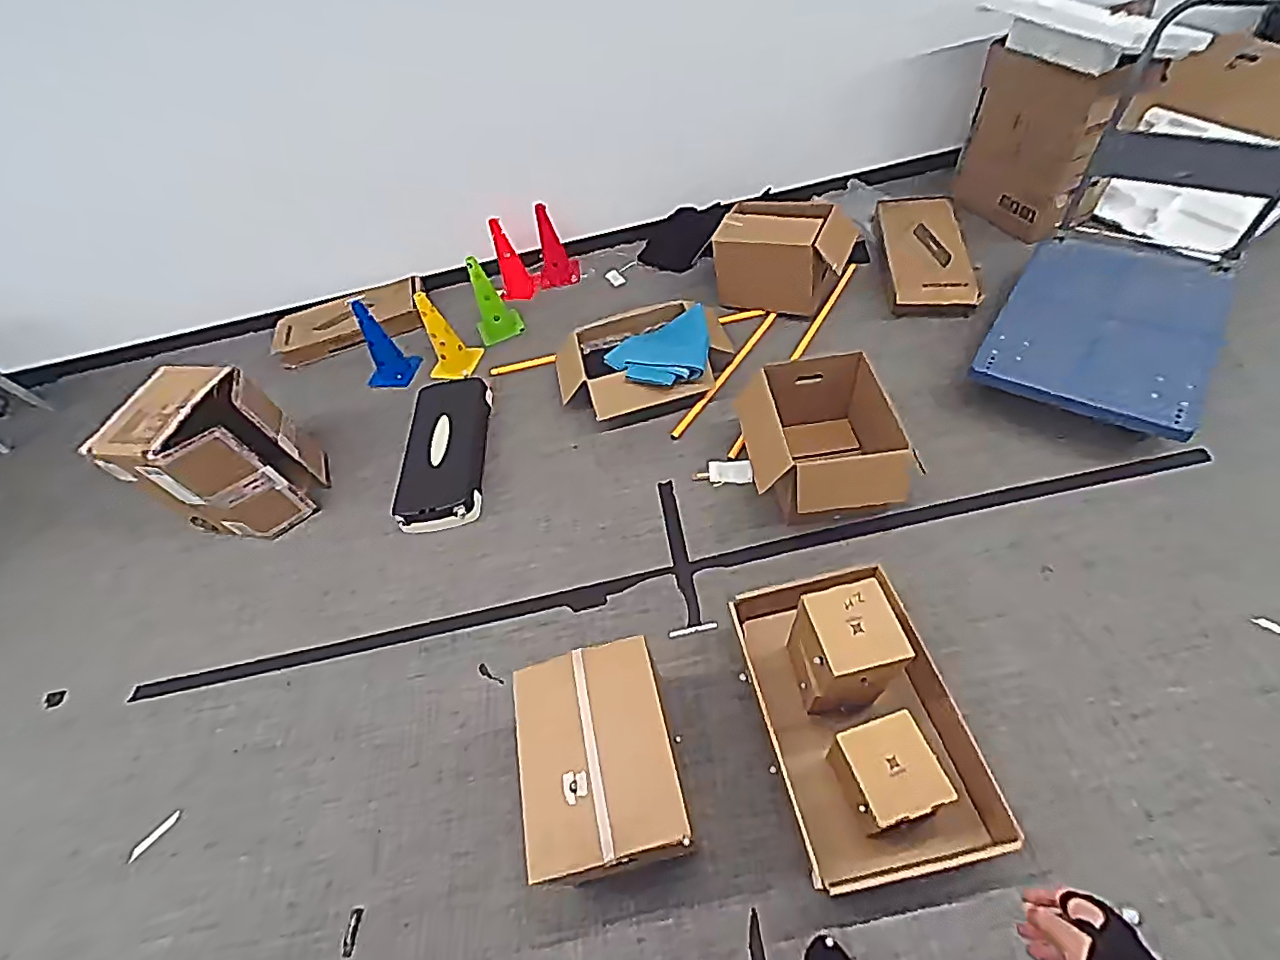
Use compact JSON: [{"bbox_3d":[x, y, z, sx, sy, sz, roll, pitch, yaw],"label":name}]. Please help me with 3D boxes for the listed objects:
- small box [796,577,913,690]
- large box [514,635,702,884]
[{"bbox_3d":[0.446,0.336,1.157,0.168,0.176,0.179,-13,54,-1],"label":"small box"},{"bbox_3d":[-0.070,0.628,1.222,0.320,0.320,0.408,-16,53,0],"label":"large box"}]
